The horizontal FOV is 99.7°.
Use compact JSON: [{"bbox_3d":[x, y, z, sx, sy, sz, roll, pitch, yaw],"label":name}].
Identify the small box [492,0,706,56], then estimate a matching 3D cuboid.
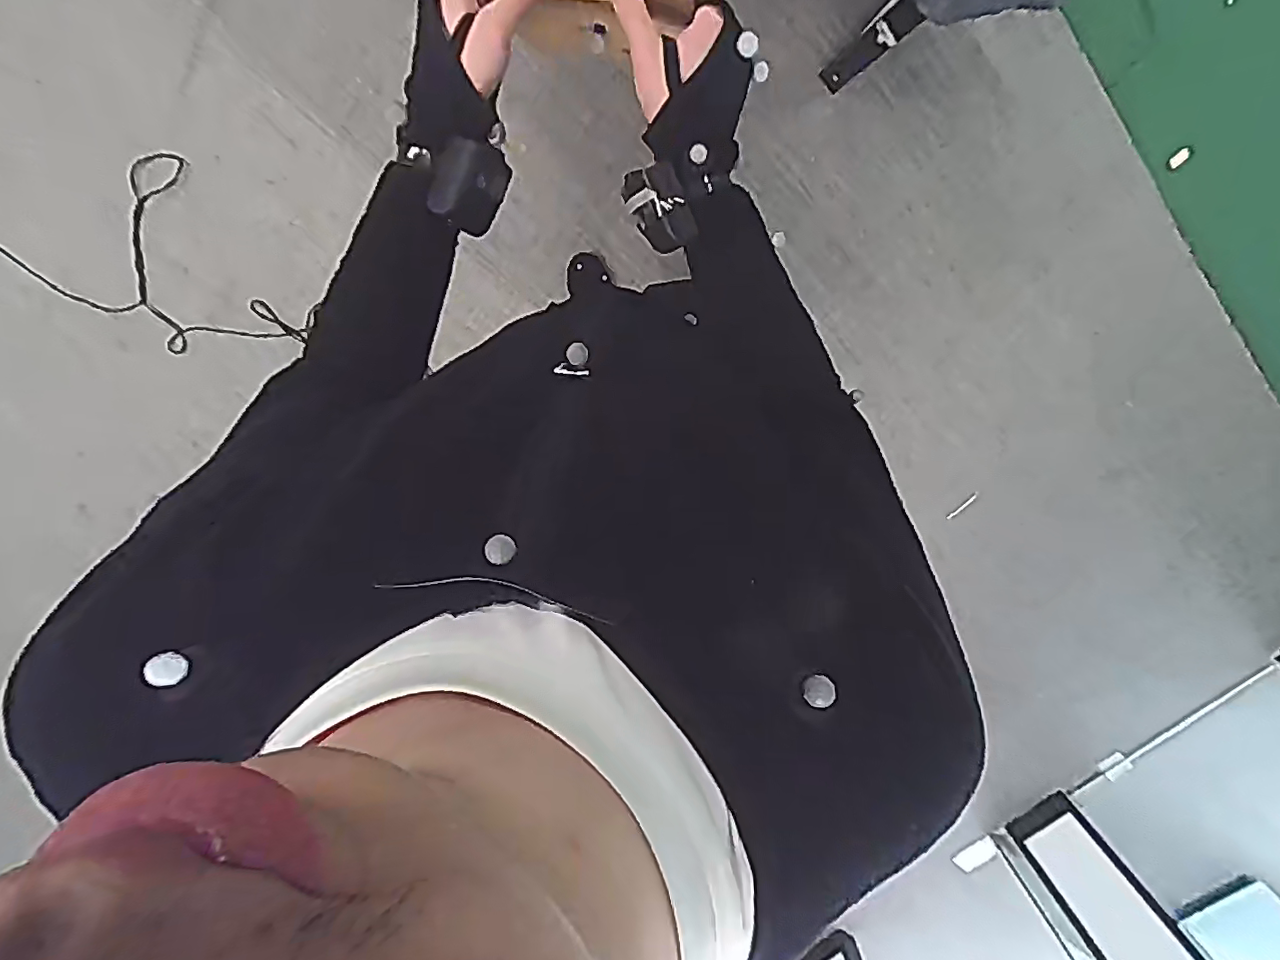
[{"bbox_3d":[-0.024,-0.463,0.427,0.168,0.176,0.179,4,114,3],"label":"small box"}]
